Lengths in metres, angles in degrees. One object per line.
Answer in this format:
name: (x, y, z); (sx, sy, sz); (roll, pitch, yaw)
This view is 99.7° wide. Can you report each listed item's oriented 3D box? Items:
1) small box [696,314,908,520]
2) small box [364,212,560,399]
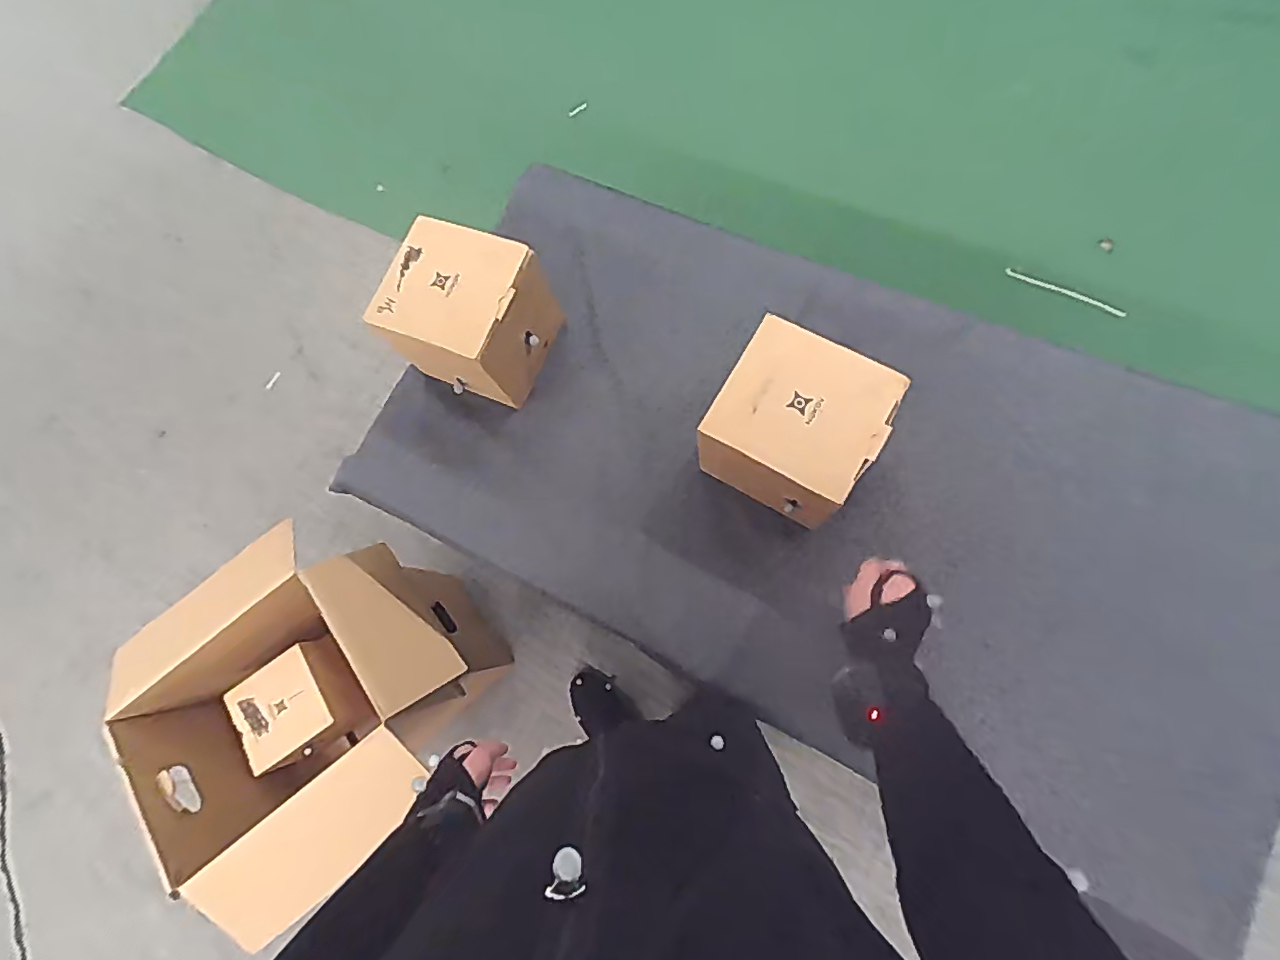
small box: (0.186, -0.064, 0.666); (0.179, 0.176, 0.168); (29, 80, 15)
small box: (-0.234, -0.233, 0.763); (0.179, 0.176, 0.168); (22, 80, 11)
